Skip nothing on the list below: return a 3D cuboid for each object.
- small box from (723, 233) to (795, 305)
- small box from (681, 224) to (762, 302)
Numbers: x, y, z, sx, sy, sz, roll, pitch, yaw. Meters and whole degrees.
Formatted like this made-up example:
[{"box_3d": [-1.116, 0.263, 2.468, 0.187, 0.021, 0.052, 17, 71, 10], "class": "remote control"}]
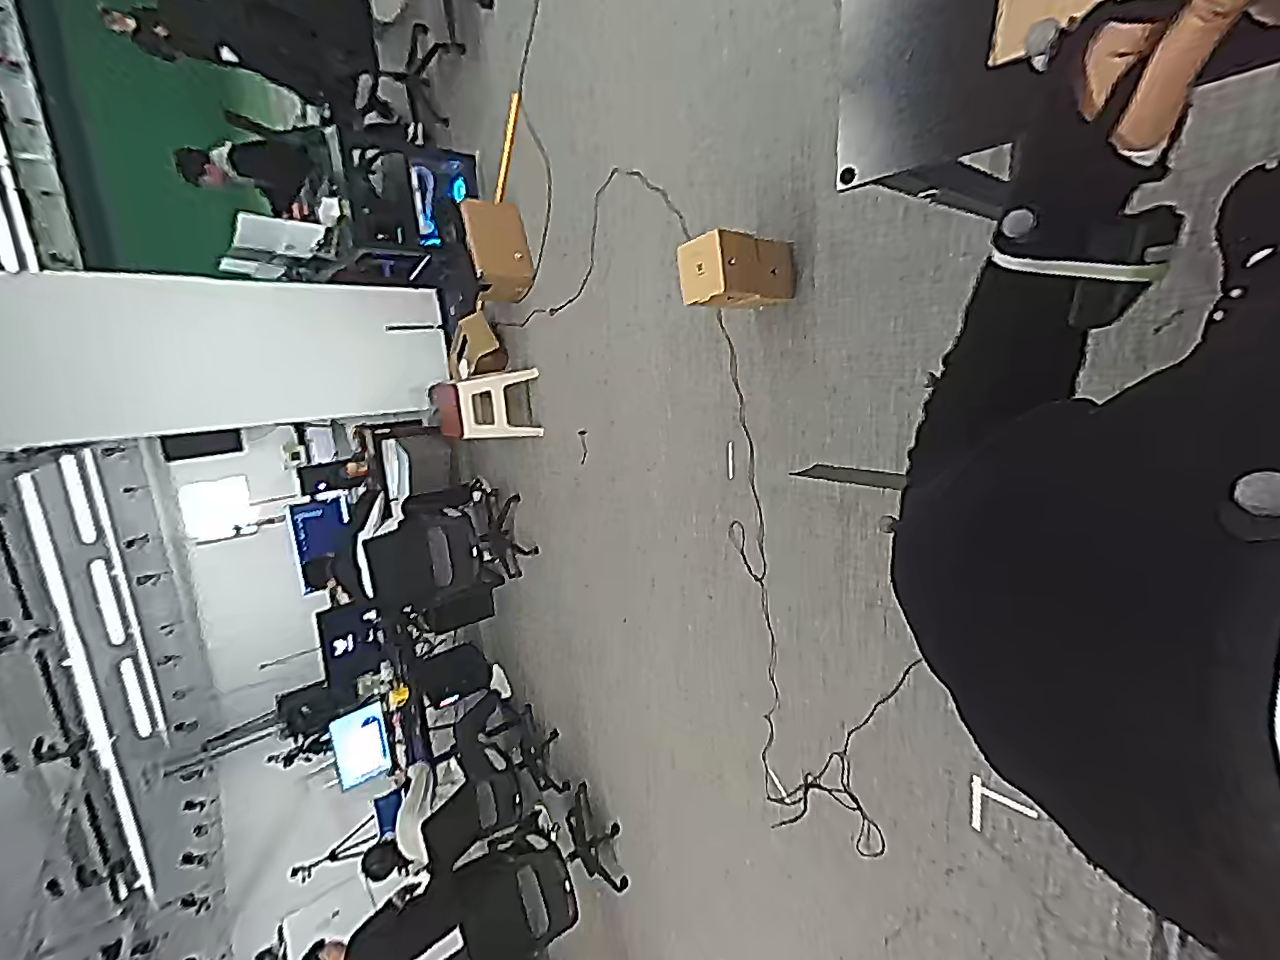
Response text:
[{"box_3d": [0.371, -0.655, 1.698, 0.168, 0.176, 0.179, 6, 106, 51], "class": "small box"}, {"box_3d": [0.244, -0.633, 1.599, 0.168, 0.176, 0.179, 1, 100, 51], "class": "small box"}]
